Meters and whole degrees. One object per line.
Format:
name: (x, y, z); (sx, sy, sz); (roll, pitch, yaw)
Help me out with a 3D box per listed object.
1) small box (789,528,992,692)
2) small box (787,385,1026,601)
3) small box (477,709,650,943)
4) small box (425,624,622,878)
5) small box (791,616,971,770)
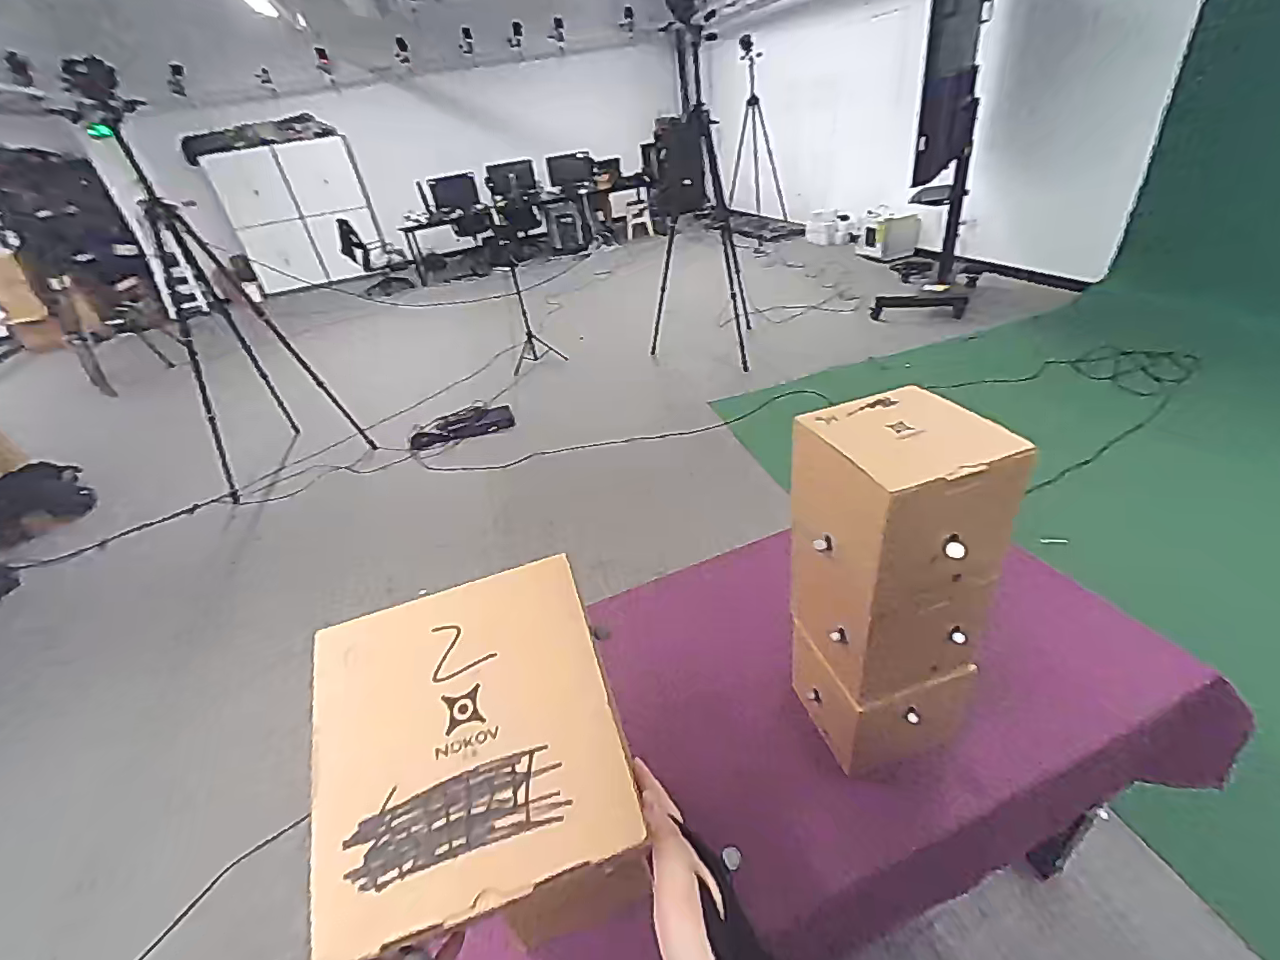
small box: (0.312, 0.150, 0.710); (0.168, 0.176, 0.179); (-15, 33, -8)
small box: (0.284, 0.016, 0.620); (0.168, 0.176, 0.179); (-15, 34, -9)
small box: (-0.102, 0.440, 0.693); (0.179, 0.176, 0.168); (-17, 33, -12)
small box: (-0.129, 0.303, 0.607); (0.168, 0.176, 0.179); (-18, 33, -12)
small box: (0.340, 0.288, 0.793); (0.179, 0.176, 0.168); (-16, 34, -7)
